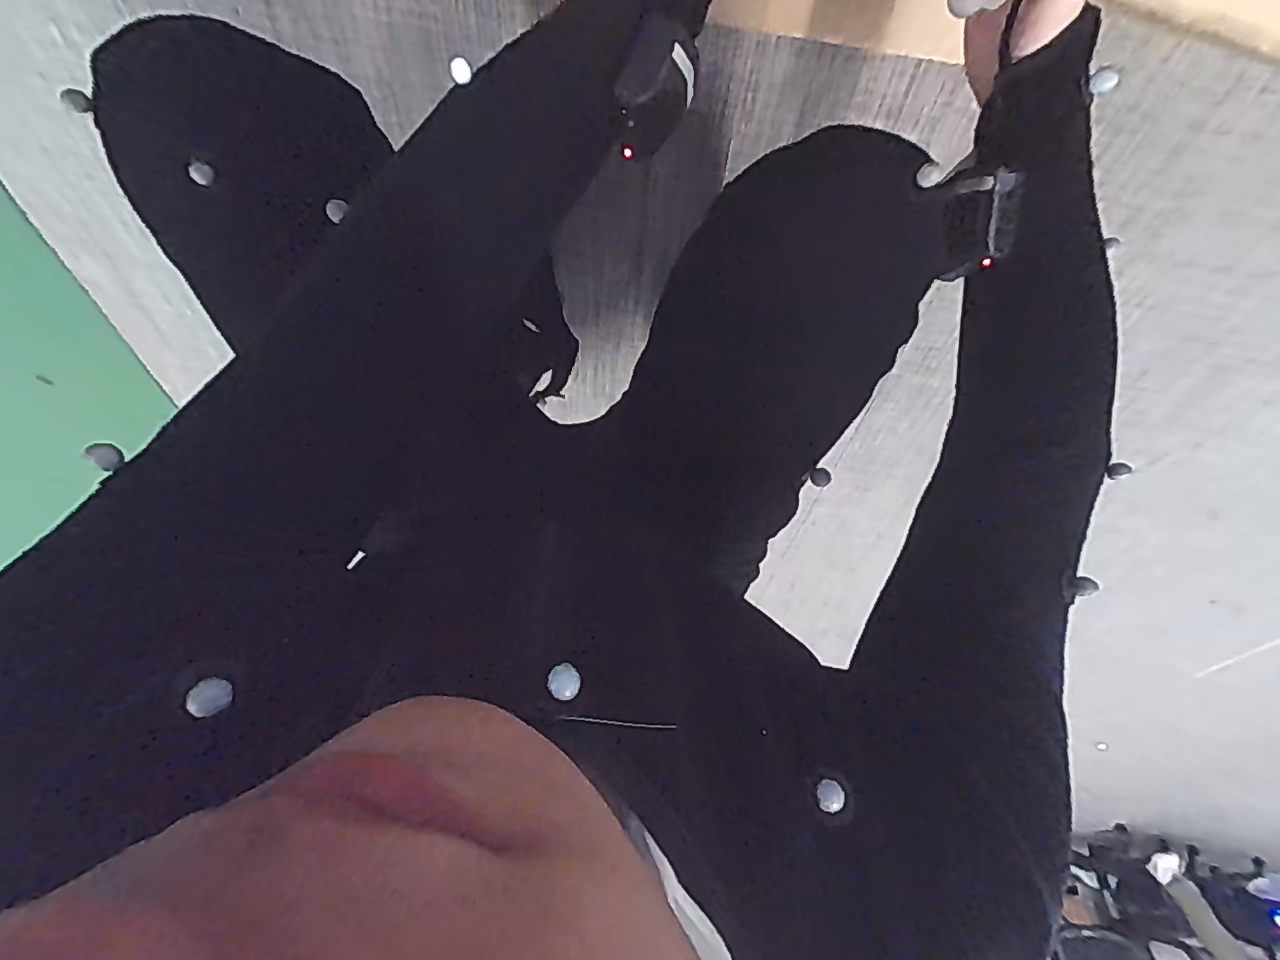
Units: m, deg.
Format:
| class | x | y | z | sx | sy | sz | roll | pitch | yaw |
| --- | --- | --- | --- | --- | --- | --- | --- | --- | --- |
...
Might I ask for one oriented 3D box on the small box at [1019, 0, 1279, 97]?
| class | x | y | z | sx | sy | sz | roll | pitch | yaw |
| --- | --- | --- | --- | --- | --- | --- | --- | --- | --- |
| small box | 0.146 | -0.226 | 0.130 | 0.179 | 0.176 | 0.168 | 14 | 137 | -6 |
